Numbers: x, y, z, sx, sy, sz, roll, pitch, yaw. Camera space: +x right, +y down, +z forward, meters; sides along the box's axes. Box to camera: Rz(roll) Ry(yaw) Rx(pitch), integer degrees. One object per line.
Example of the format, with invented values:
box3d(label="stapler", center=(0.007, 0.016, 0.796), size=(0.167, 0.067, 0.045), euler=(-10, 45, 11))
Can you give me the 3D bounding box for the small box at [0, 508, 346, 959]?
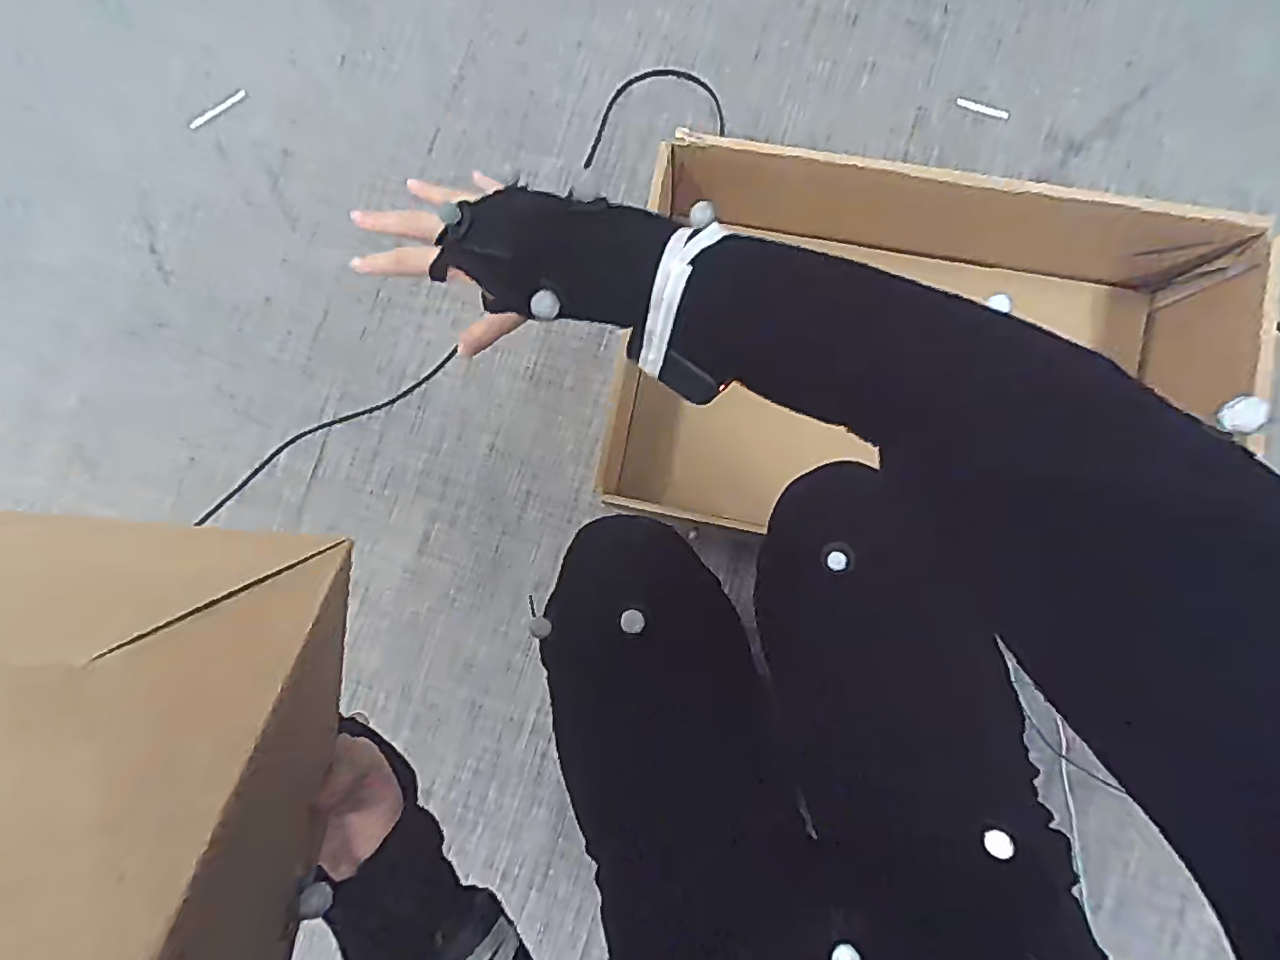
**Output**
box3d(label="small box", center=(-0.198, 0.111, 0.157), size=(0.168, 0.179, 0.176), euler=(8, 105, -19))
